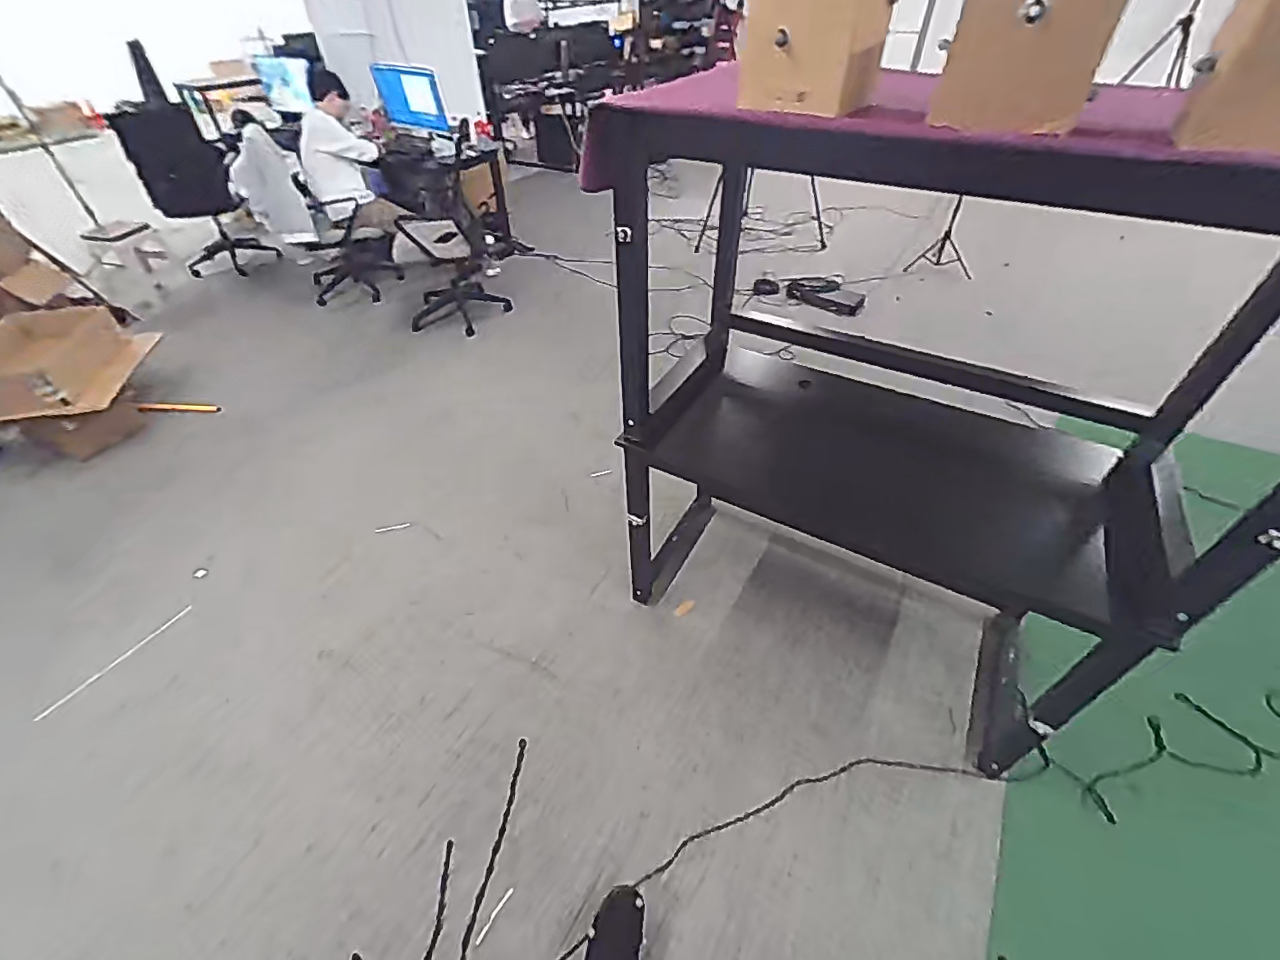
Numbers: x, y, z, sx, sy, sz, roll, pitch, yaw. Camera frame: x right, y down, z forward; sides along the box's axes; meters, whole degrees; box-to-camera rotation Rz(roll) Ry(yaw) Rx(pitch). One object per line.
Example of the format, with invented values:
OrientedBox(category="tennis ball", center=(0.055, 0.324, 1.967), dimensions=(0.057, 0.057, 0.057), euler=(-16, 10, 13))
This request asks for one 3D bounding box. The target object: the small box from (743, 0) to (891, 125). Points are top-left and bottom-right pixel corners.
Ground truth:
OrientedBox(category="small box", center=(0.269, -0.662, 0.834), dimensions=(0.168, 0.176, 0.179), euler=(24, 47, 25))

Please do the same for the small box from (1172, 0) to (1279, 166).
OrientedBox(category="small box", center=(0.749, -0.462, 0.606), dimensions=(0.179, 0.176, 0.168), euler=(20, 48, 23))

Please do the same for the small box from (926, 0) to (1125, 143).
OrientedBox(category="small box", center=(0.507, -0.564, 0.724), dimensions=(0.179, 0.176, 0.168), euler=(20, 46, 21))
